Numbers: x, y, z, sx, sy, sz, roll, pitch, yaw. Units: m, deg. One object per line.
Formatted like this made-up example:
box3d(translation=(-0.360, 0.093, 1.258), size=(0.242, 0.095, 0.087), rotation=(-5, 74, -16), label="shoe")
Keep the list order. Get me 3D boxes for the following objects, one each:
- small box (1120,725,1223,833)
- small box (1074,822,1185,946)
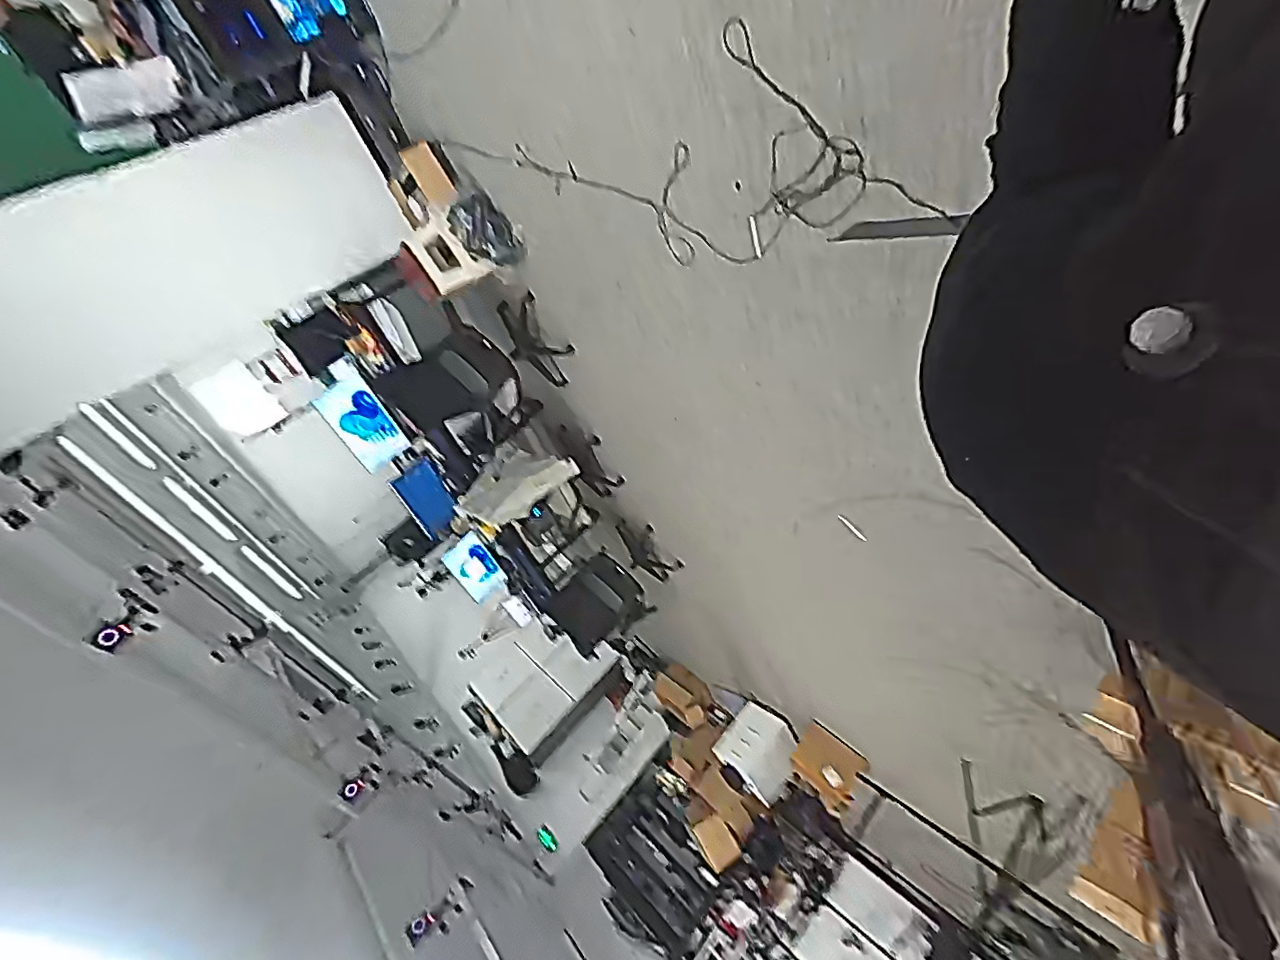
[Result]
box3d(translation=(1.481, 0.827, 1.510), size=(0.168, 0.176, 0.179), rotation=(20, 145, 48), label="small box")
box3d(translation=(1.253, 1.031, 1.387), size=(0.168, 0.176, 0.179), rotation=(21, 145, 46), label="small box")
